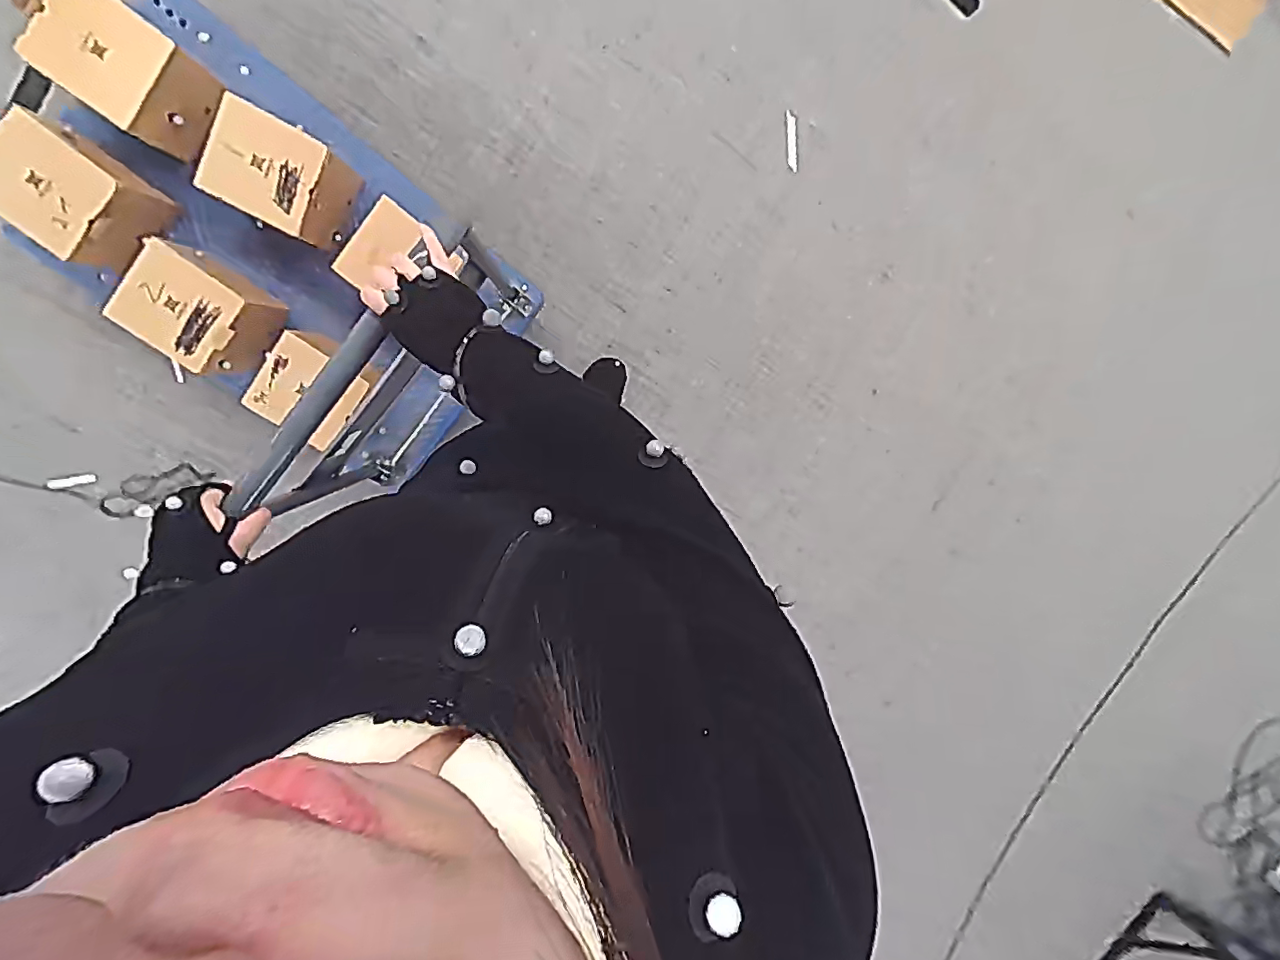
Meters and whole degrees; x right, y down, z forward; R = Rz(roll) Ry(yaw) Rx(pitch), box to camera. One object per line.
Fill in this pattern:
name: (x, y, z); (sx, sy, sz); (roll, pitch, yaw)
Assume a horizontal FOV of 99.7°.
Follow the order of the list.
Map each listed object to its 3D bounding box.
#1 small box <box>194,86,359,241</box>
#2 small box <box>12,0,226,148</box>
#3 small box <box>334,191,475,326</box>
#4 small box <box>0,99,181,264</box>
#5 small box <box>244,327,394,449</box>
small box: (-0.655, -0.565, 0.998); (0.179, 0.176, 0.168); (26, 98, -14)
small box: (-0.873, -0.711, 0.929); (0.179, 0.176, 0.168); (34, 96, -15)
small box: (-0.449, -0.424, 1.066); (0.179, 0.176, 0.168); (38, 94, -15)
small box: (-0.990, -0.509, 0.958); (0.179, 0.176, 0.168); (39, 95, -16)
small box: (-0.632, -0.189, 1.092); (0.179, 0.176, 0.168); (34, 95, -15)
